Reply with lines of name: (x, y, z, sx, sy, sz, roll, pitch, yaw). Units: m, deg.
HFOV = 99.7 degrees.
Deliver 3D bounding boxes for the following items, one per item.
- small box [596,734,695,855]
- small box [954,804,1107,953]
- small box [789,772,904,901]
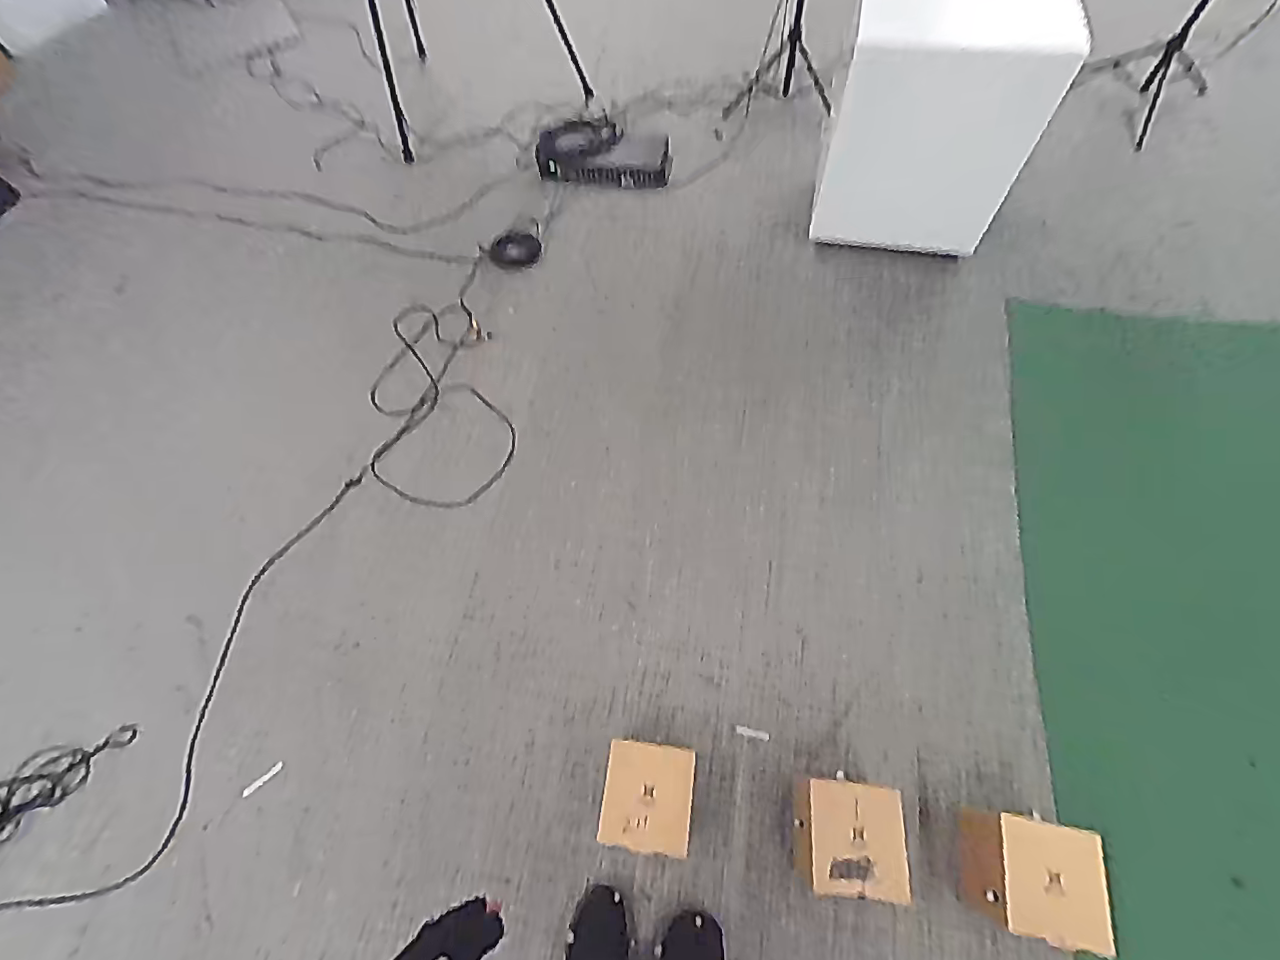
small box: (0.017, 0.617, 1.081, 0.168, 0.176, 0.179, 6, 65, 7)
small box: (0.704, 0.718, 0.998, 0.168, 0.176, 0.179, 9, 65, 8)
small box: (0.385, 0.671, 1.037, 0.168, 0.176, 0.179, 5, 63, 5)
